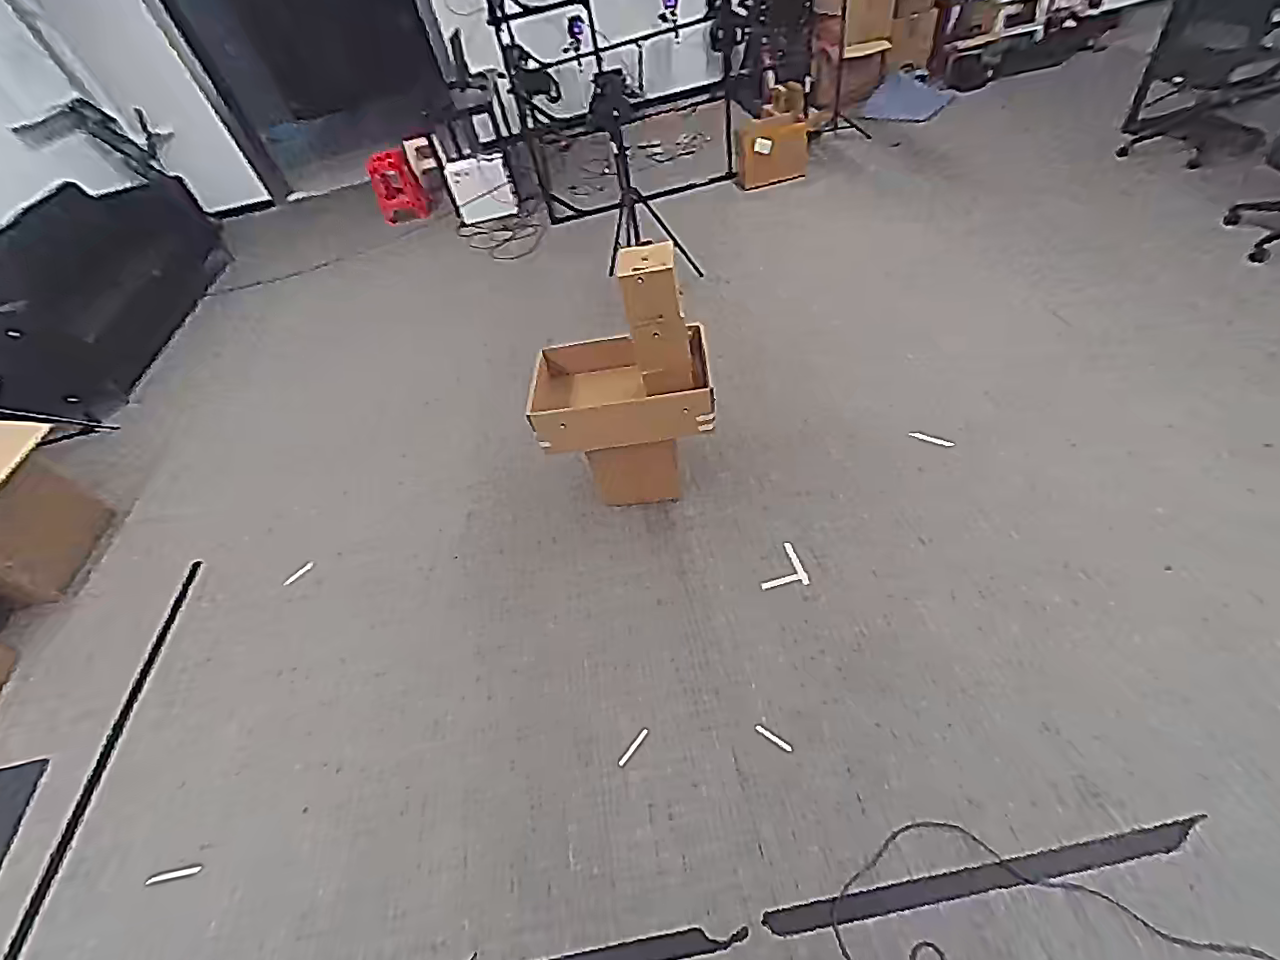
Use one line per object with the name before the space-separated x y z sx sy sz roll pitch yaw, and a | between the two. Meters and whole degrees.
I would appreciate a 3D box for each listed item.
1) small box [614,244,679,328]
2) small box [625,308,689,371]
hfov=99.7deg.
small box | 0.024 -0.585 1.634 0.168 0.176 0.179 -7 46 10
small box | 0.054 -0.472 1.750 0.179 0.176 0.168 -11 46 5
